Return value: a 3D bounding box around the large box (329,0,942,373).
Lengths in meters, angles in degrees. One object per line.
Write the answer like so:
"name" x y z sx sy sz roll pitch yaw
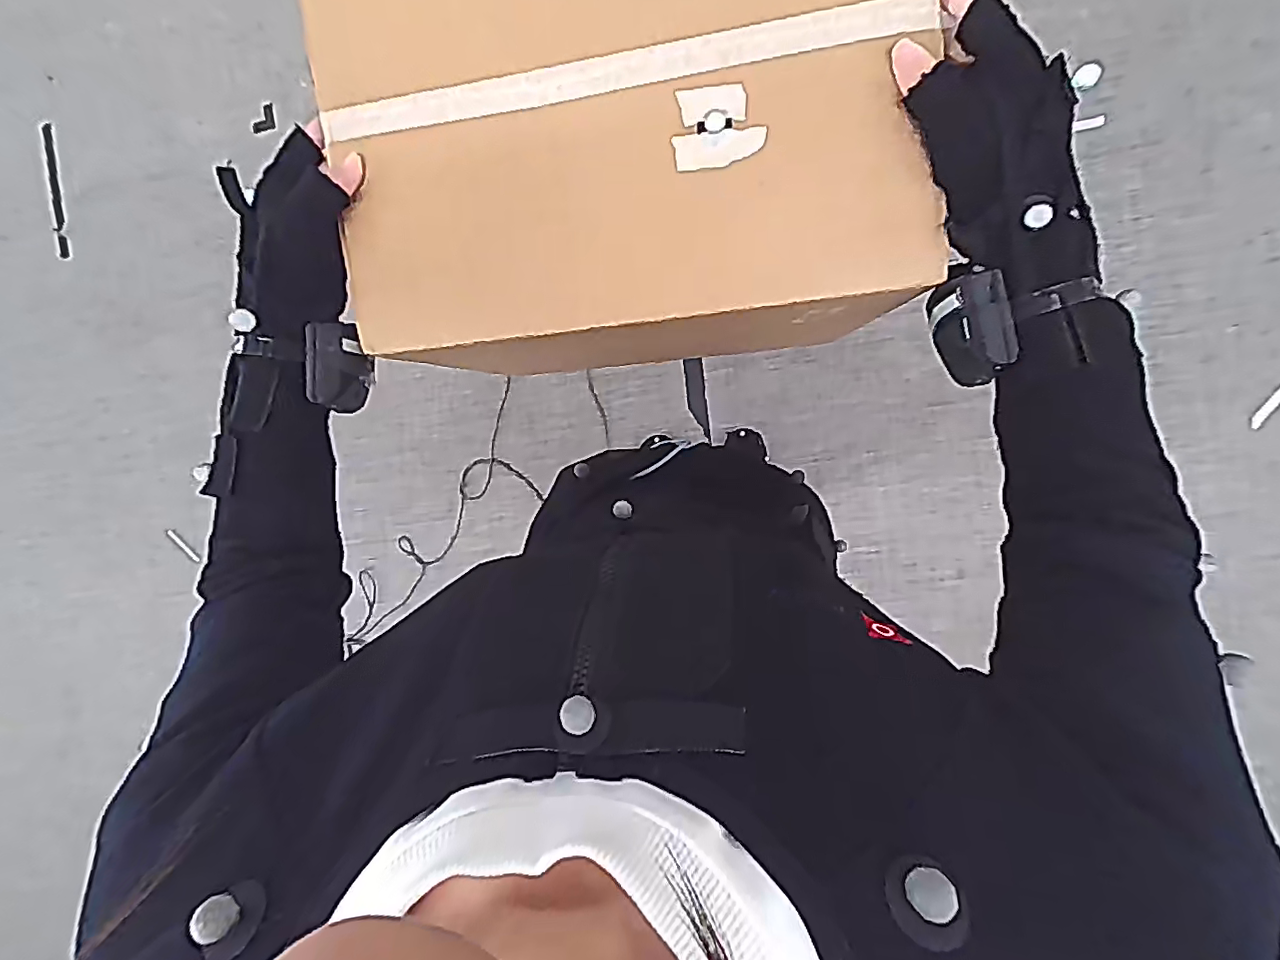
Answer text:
"large box" 0.002 -0.289 0.510 0.408 0.320 0.320 -5 98 7
